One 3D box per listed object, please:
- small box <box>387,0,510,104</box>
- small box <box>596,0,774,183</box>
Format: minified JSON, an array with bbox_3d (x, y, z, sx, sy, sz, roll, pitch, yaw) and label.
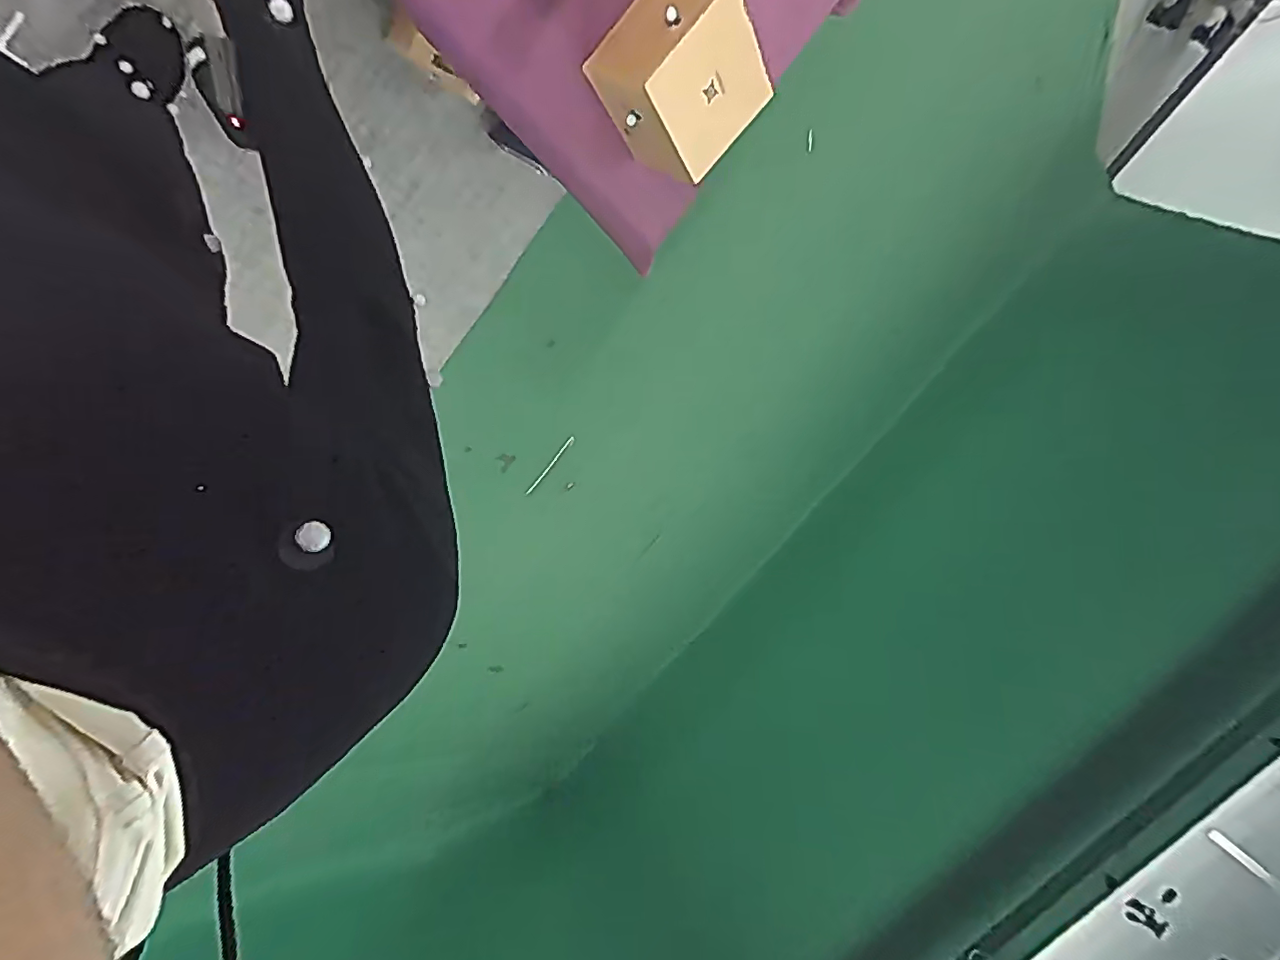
[{"bbox_3d":[-0.423,-0.973,1.176,0.168,0.176,0.179,15,114,-51],"label":"small box"},{"bbox_3d":[0.058,-0.582,0.790,0.179,0.176,0.168,-48,144,4],"label":"small box"}]
